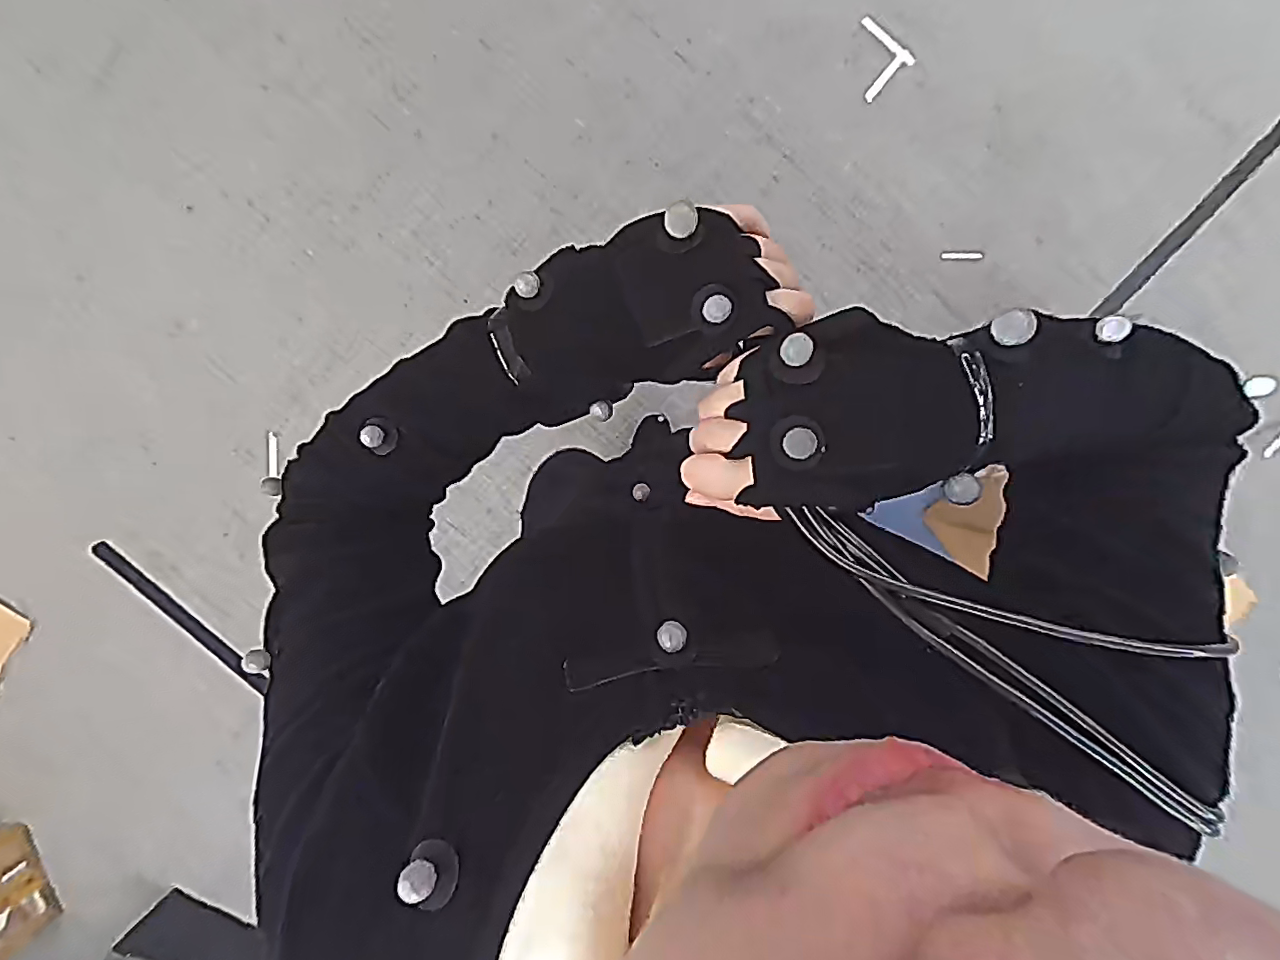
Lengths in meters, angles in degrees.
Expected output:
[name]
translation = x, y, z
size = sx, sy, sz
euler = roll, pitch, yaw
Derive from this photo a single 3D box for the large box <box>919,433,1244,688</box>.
[large box]
translation = 0.912, 0.146, 1.173
size = 0.320, 0.320, 0.408
euler = -38, 94, 3
